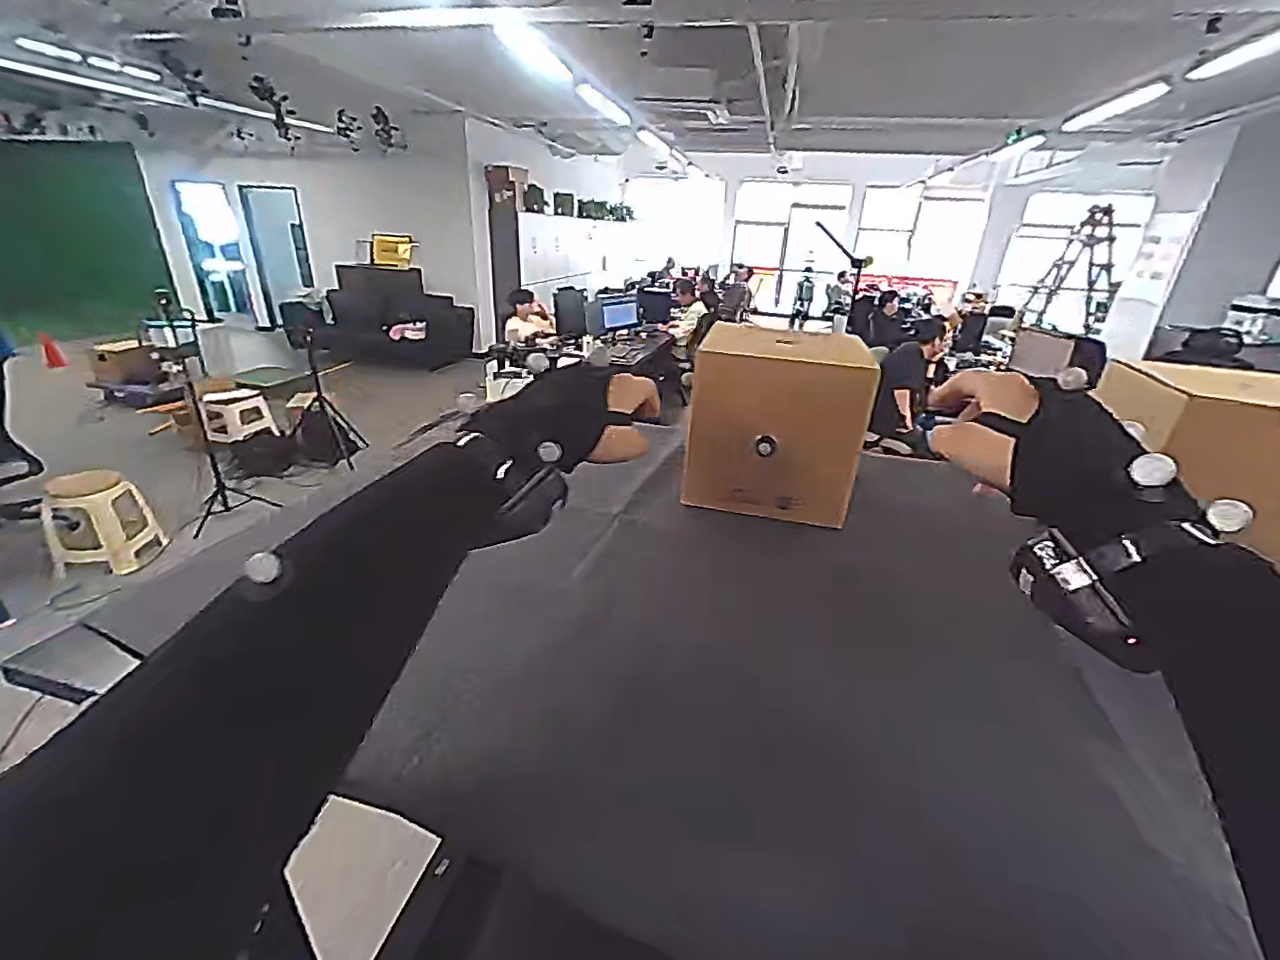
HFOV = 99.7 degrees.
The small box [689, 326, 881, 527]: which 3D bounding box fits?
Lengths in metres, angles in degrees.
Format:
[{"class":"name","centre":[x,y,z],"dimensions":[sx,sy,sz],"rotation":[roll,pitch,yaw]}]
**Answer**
[{"class":"small box","centre":[0.151,-0.065,0.597],"dimensions":[0.168,0.176,0.179],"rotation":[9,26,11]}]

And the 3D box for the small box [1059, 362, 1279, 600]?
[{"class":"small box","centre":[0.553,-0.006,0.523],"dimensions":[0.168,0.176,0.179],"rotation":[12,26,16]}]
